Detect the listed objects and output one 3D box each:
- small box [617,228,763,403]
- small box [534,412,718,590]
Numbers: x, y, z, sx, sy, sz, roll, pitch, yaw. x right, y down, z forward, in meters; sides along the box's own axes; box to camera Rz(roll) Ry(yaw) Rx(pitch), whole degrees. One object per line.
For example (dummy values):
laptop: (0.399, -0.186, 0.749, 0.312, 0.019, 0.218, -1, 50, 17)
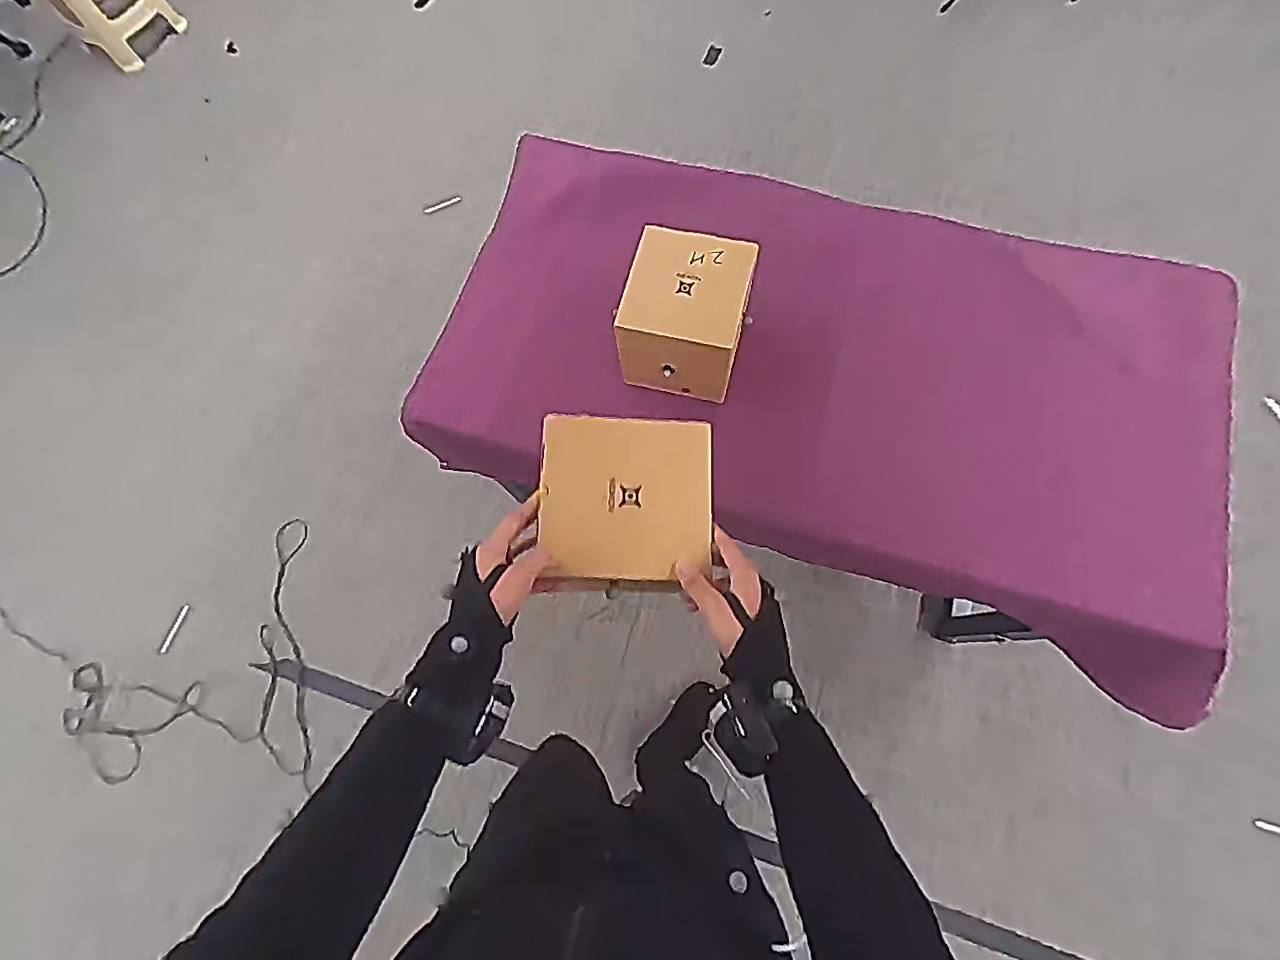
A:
small box: (0.075, -0.237, 0.812, 0.168, 0.176, 0.179, 14, 74, 8)
small box: (-0.015, 0.034, 0.608, 0.179, 0.176, 0.168, 2, 75, -2)
